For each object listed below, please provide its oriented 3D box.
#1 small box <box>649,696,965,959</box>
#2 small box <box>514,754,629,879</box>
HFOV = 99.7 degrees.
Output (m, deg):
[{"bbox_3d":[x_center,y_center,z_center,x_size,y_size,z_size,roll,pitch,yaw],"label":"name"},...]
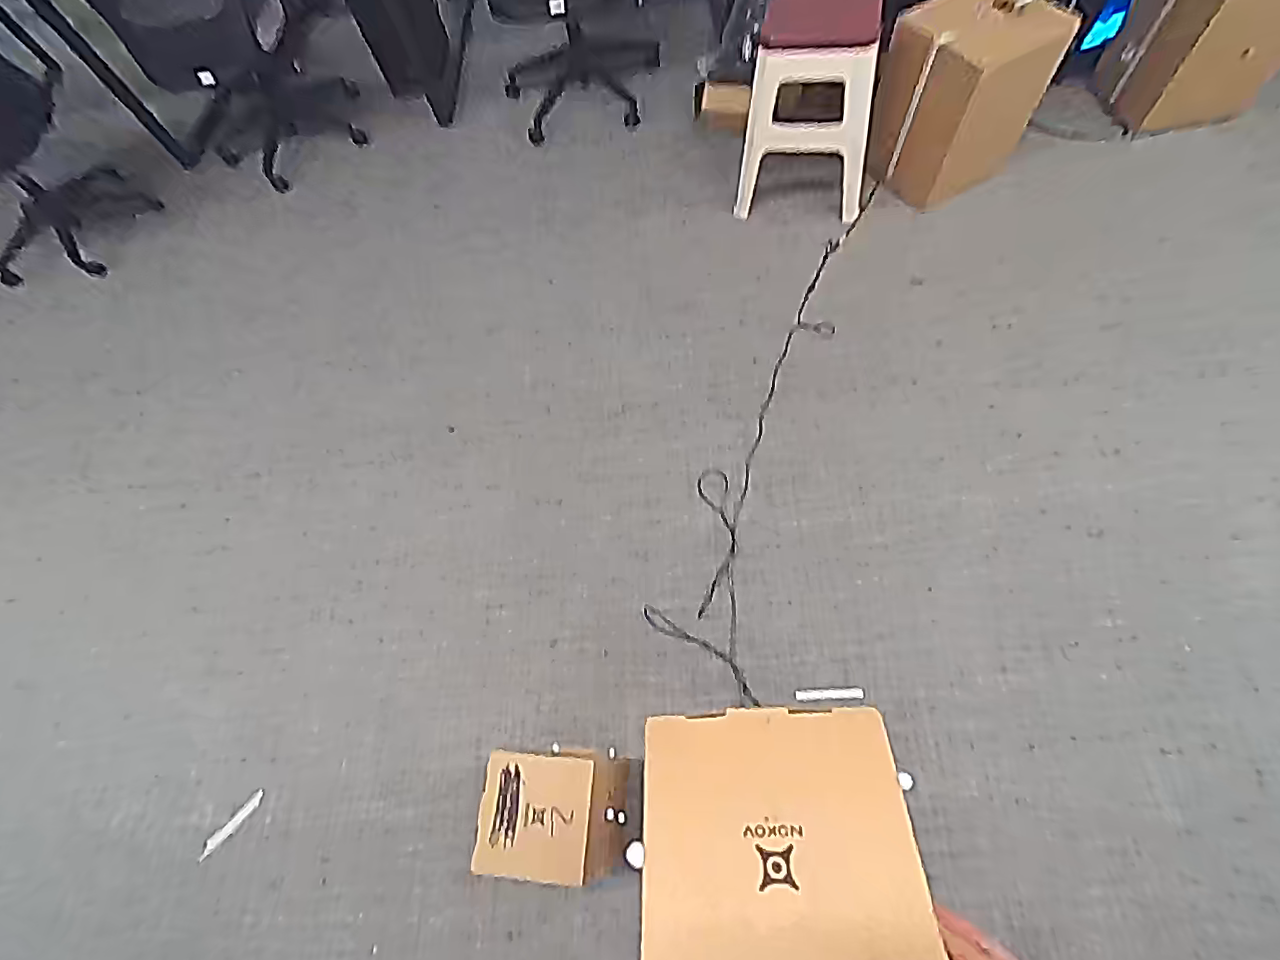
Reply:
[{"bbox_3d":[0.102,0.272,0.373,0.168,0.176,0.179,-7,44,8],"label":"small box"},{"bbox_3d":[-0.119,0.624,1.026,0.168,0.176,0.179,0,65,10],"label":"small box"}]
